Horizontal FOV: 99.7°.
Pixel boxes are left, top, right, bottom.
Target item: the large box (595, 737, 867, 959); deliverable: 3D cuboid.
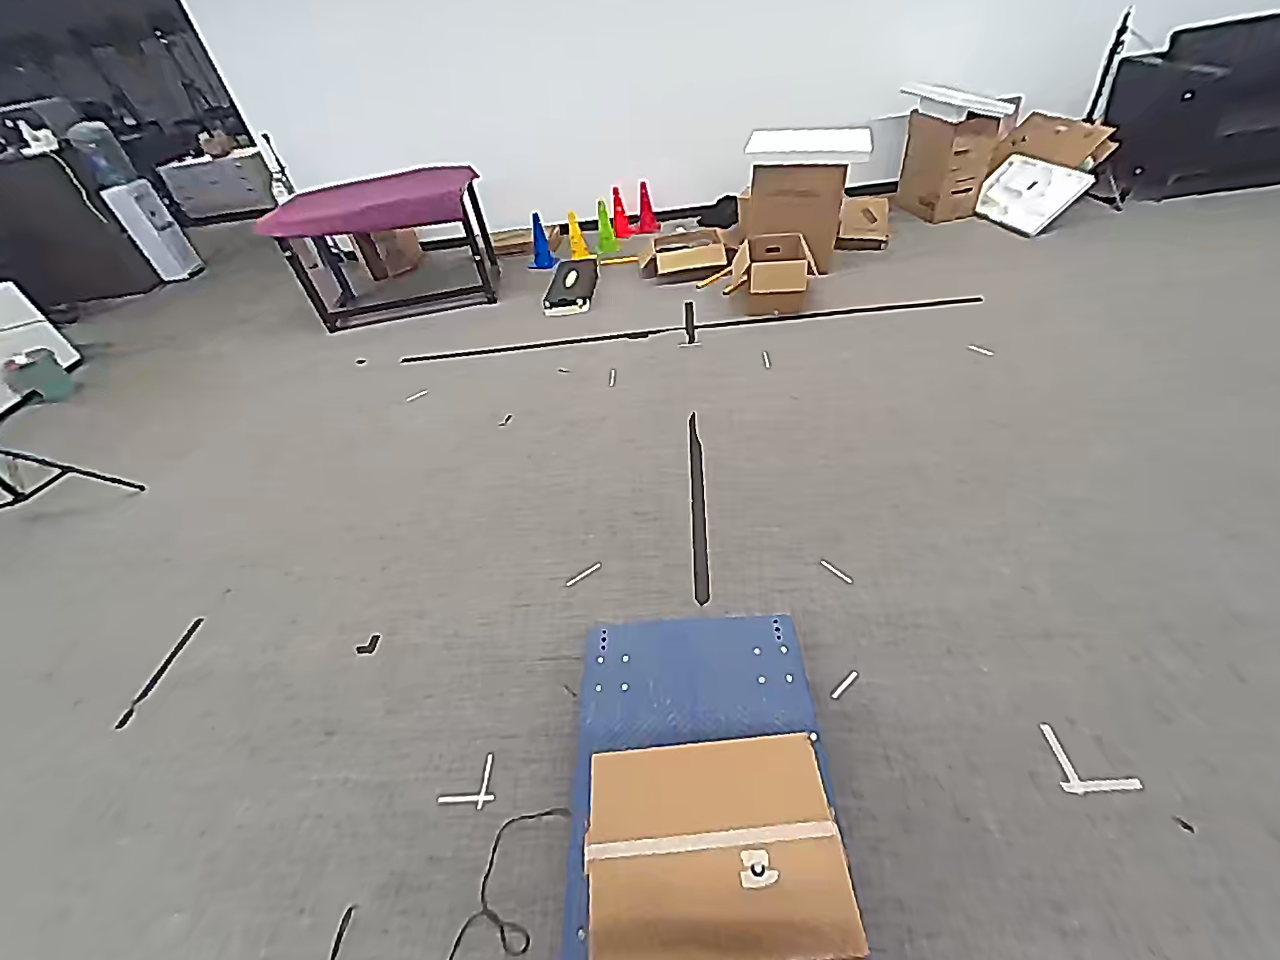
[{"bbox_3d":[0.138,0.712,0.986,0.408,0.320,0.320,-7,42,2],"label":"large box"}]
